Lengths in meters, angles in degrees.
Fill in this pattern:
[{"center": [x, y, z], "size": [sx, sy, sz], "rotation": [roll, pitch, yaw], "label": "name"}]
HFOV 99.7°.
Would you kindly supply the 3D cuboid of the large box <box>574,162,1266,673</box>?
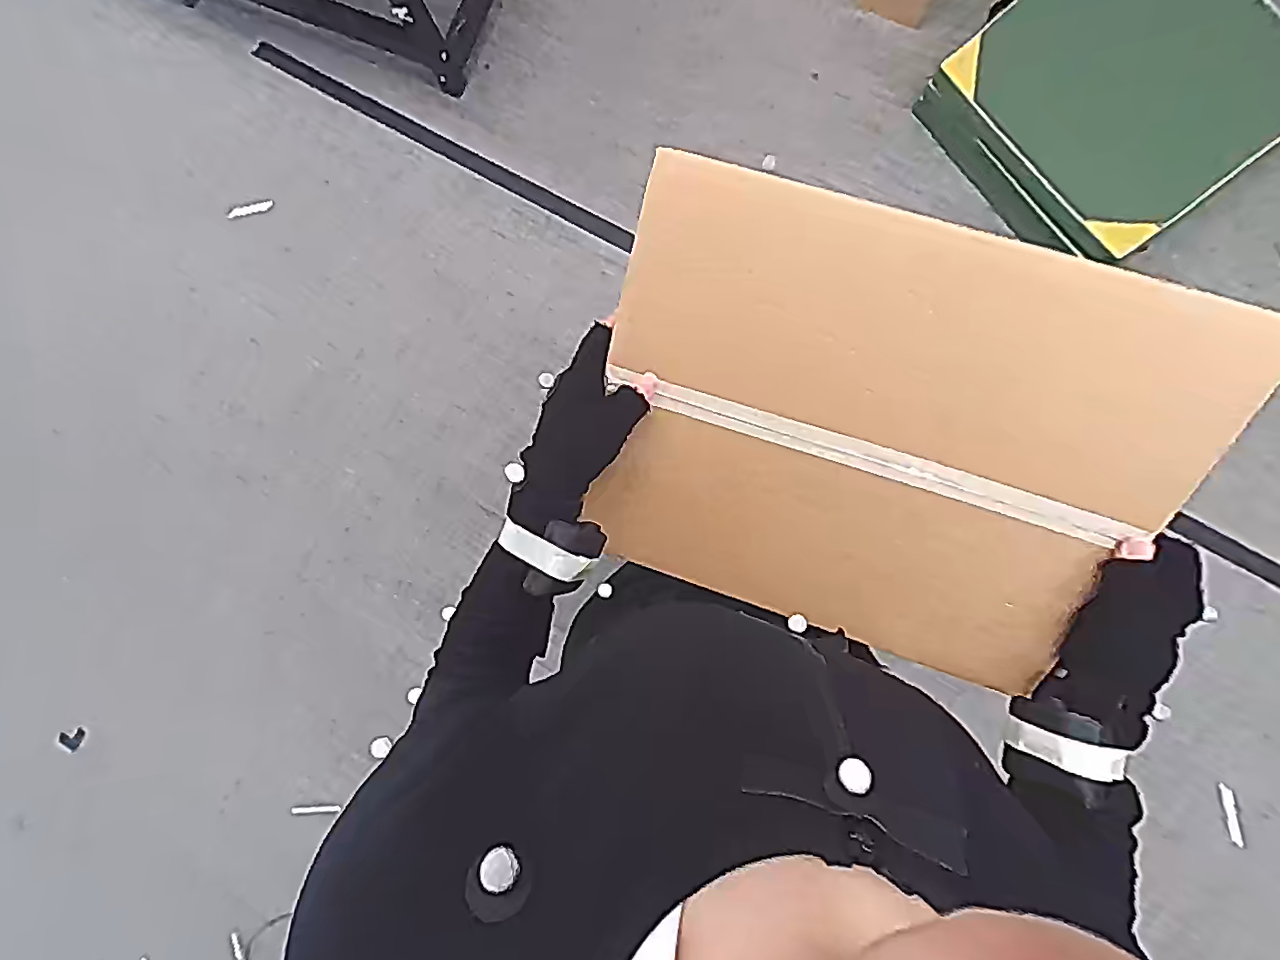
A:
[{"center": [0.190, -0.083, 0.545], "size": [0.408, 0.320, 0.320], "rotation": [19, 117, 5], "label": "large box"}]
